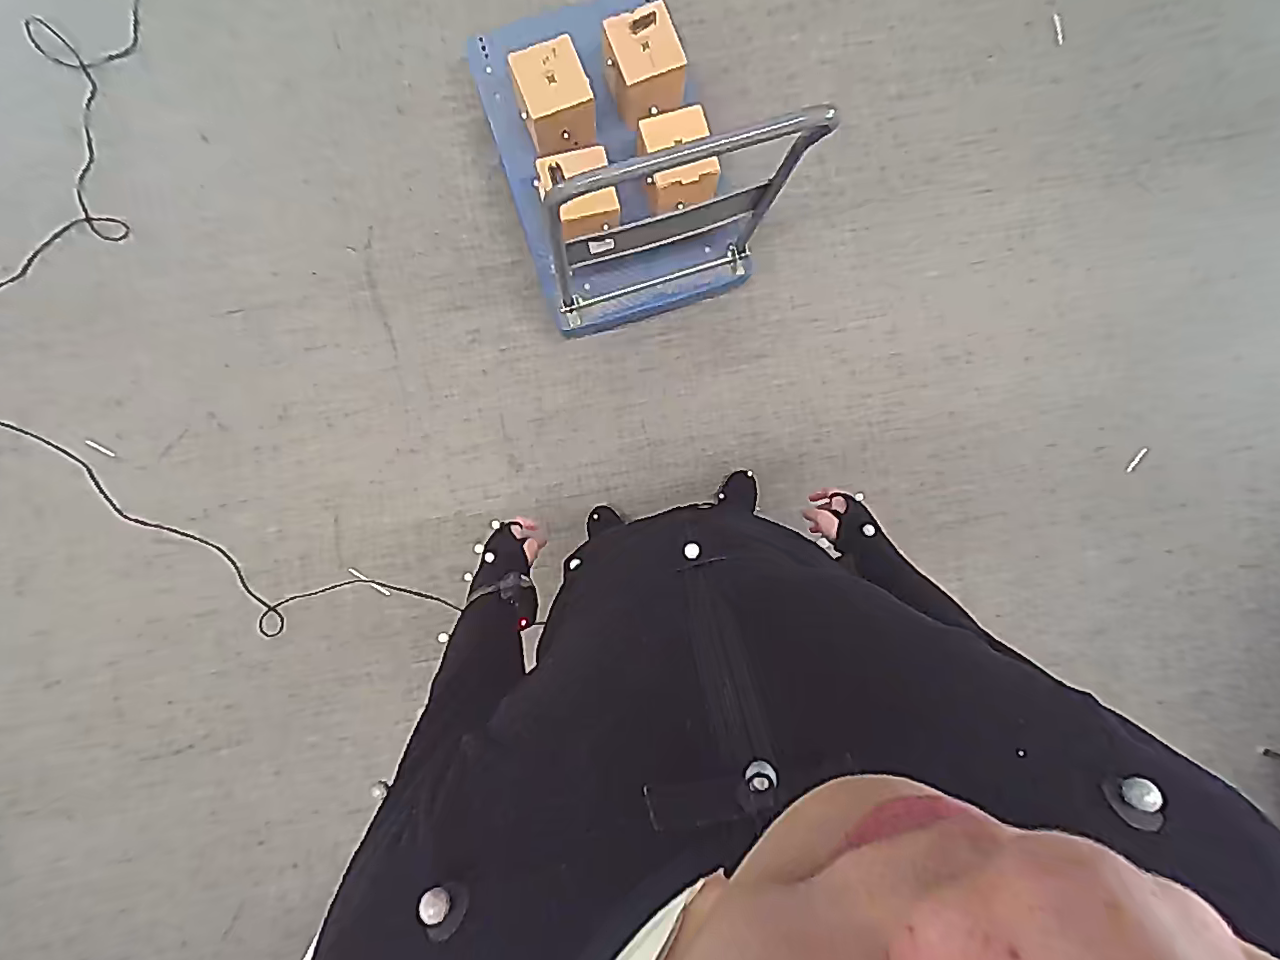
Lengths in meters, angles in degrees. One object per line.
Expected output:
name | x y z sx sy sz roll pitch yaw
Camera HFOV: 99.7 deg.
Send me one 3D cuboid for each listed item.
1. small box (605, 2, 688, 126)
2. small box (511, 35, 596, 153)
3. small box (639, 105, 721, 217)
small box | 0.014 -1.093 1.433 0.168 0.176 0.179 -21 90 -2
small box | -0.219 -0.998 1.422 0.168 0.176 0.179 -22 89 -4
small box | 0.099 -0.836 1.431 0.168 0.176 0.179 -17 90 -3
